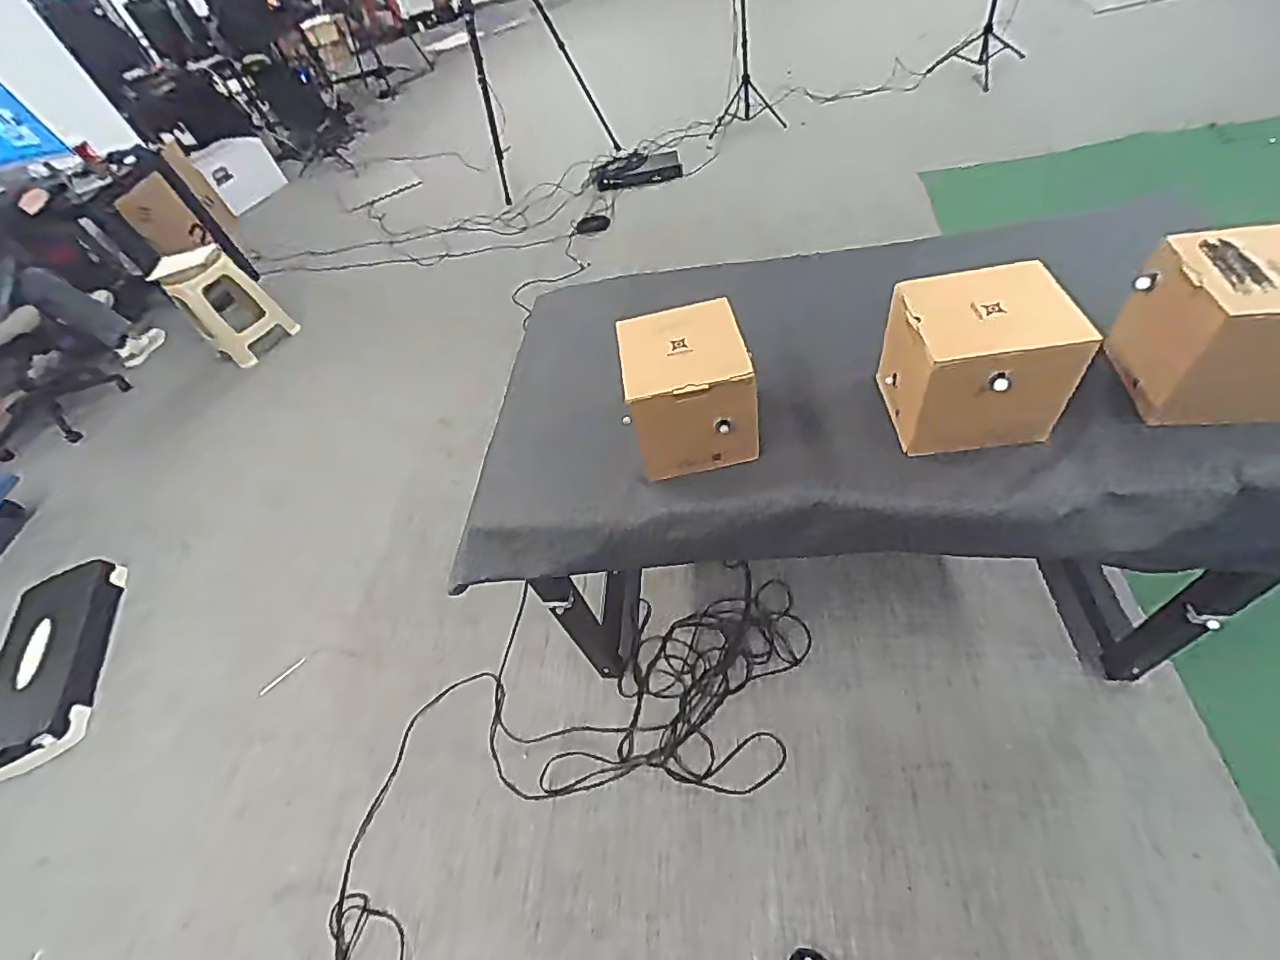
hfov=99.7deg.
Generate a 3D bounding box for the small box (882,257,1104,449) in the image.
[{"bbox_3d":[0.438,-0.159,0.709,0.179,0.176,0.168,-6,51,10],"label":"small box"}]

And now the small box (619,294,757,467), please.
[{"bbox_3d":[0.071,-0.135,0.783,0.168,0.176,0.179,-11,49,4],"label":"small box"}]
